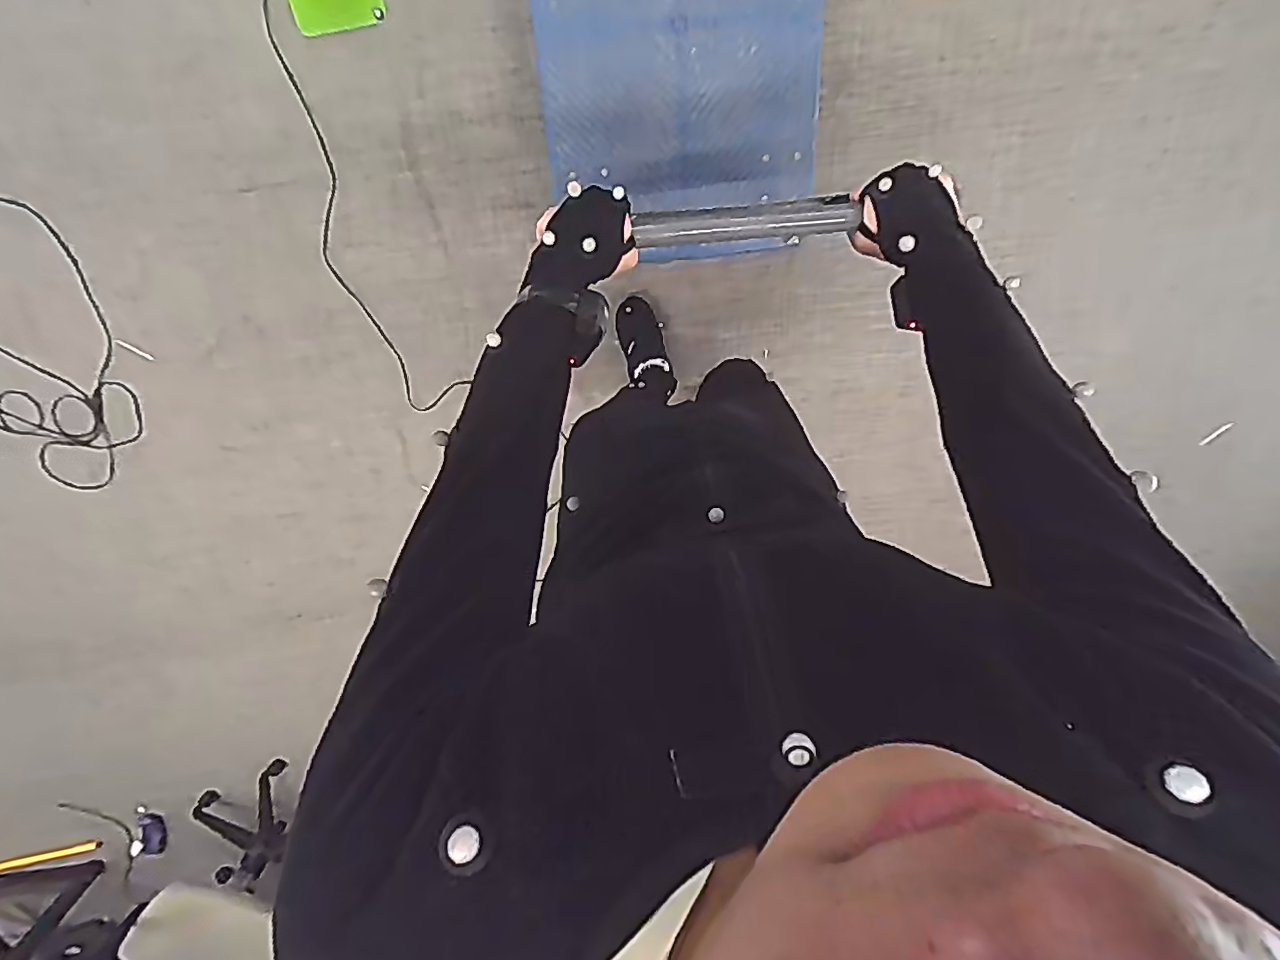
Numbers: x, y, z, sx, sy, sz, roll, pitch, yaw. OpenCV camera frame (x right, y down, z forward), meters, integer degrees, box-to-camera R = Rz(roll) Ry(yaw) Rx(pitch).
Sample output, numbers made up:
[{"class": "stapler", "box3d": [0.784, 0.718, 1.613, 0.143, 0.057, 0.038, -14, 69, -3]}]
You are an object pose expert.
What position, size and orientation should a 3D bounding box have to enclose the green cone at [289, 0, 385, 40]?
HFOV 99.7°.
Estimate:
[{"class": "green cone", "box3d": [-0.669, -1.010, 0.999, 0.202, 0.368, 0.200, -9, 114, 4]}]
